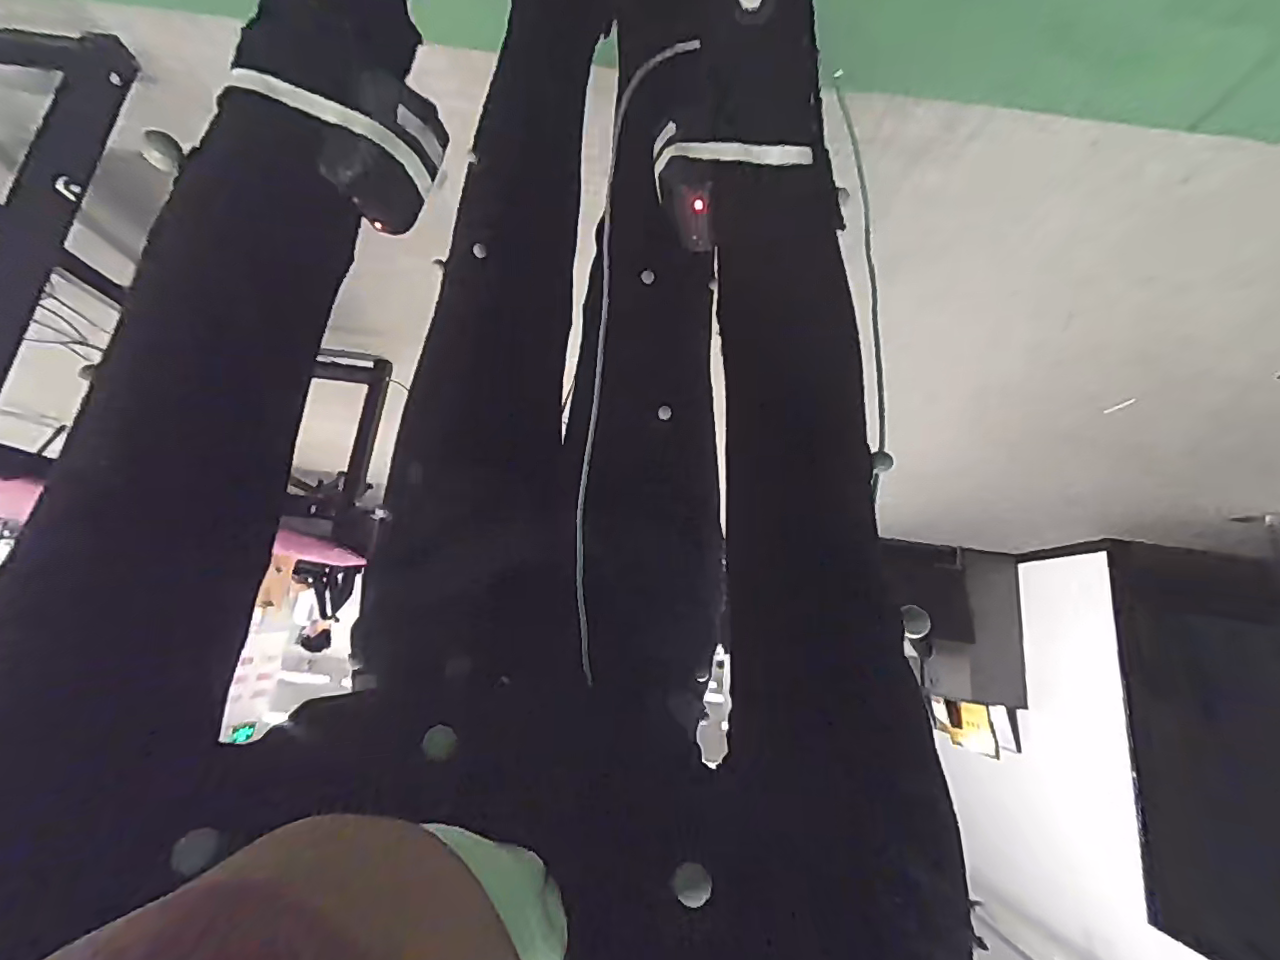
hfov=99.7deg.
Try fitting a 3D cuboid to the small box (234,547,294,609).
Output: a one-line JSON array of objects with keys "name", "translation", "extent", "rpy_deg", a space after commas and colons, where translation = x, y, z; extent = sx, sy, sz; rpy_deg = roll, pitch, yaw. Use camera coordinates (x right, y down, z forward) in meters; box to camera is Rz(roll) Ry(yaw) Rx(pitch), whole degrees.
[{"name": "small box", "translation": [-1.182, 0.288, 1.616], "extent": [0.179, 0.176, 0.168], "rpy_deg": [7, 165, -2]}]
